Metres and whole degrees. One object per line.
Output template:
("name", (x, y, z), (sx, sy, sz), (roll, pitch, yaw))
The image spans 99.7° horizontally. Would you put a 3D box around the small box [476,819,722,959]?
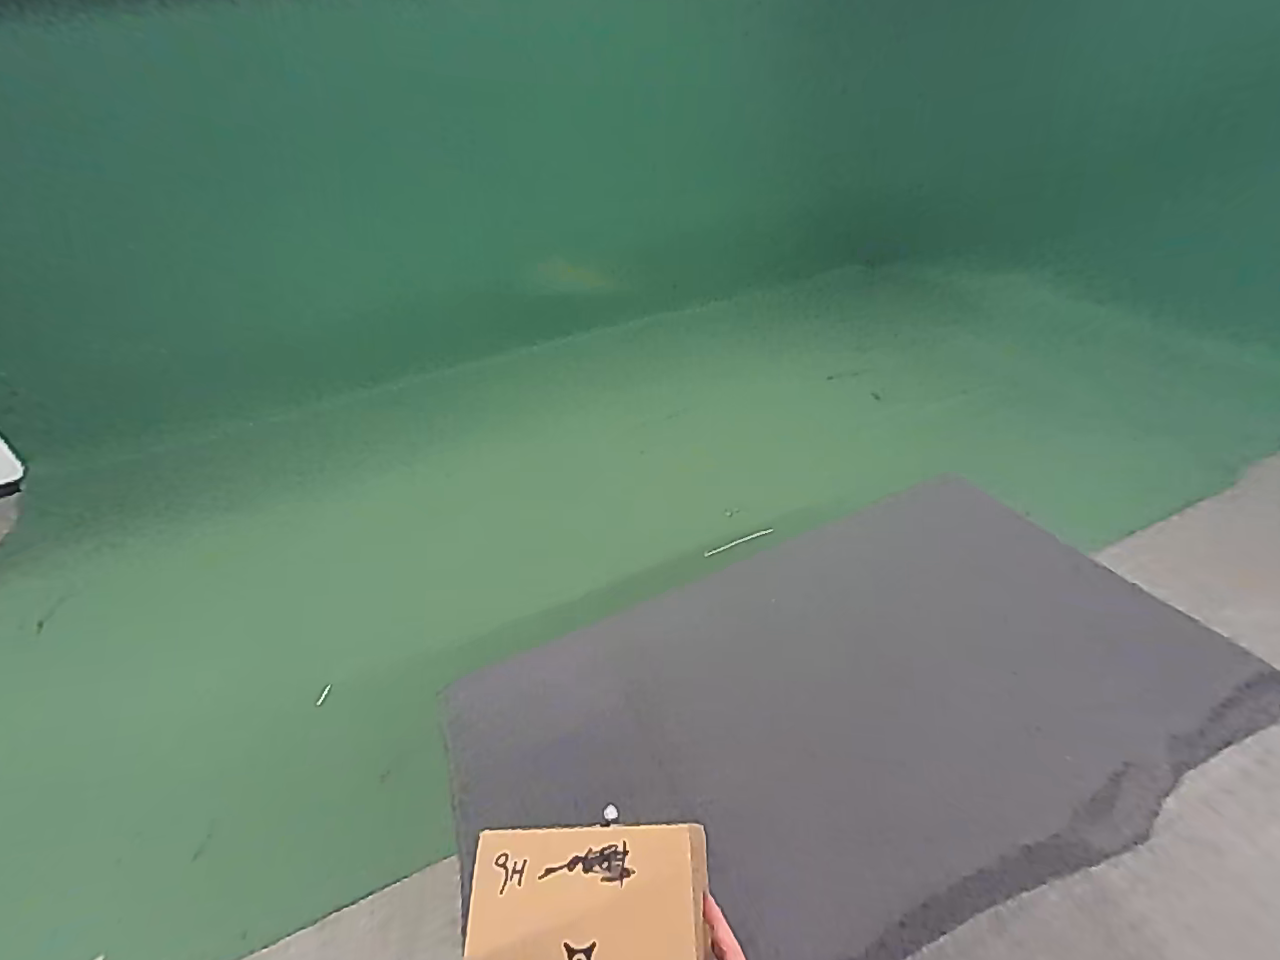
("small box", (-0.021, 0.374, 0.428), (0.168, 0.176, 0.179), (-5, 57, 6))
